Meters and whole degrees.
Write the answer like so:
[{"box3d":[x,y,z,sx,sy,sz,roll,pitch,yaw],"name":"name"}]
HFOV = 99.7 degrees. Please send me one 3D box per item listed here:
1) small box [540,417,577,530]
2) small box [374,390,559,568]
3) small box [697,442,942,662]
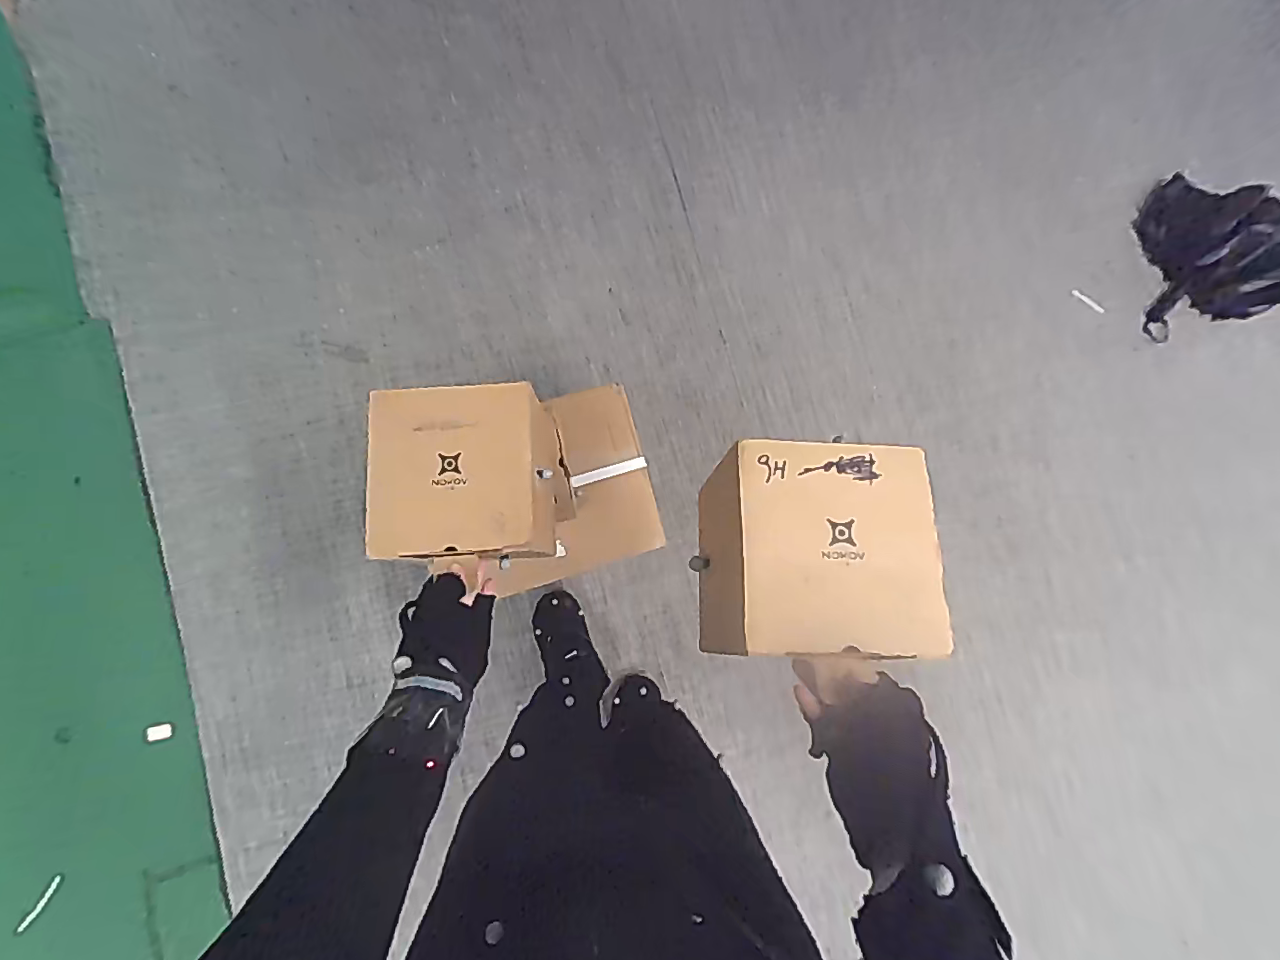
[{"box3d":[-0.198,0.003,0.850,0.179,0.176,0.168,-10,89,-6],"name":"small box"},{"box3d":[-0.189,0.010,0.632,0.168,0.176,0.179,-4,78,-2],"name":"small box"},{"box3d":[0.152,0.077,0.519,0.168,0.176,0.179,3,73,-6],"name":"small box"}]
